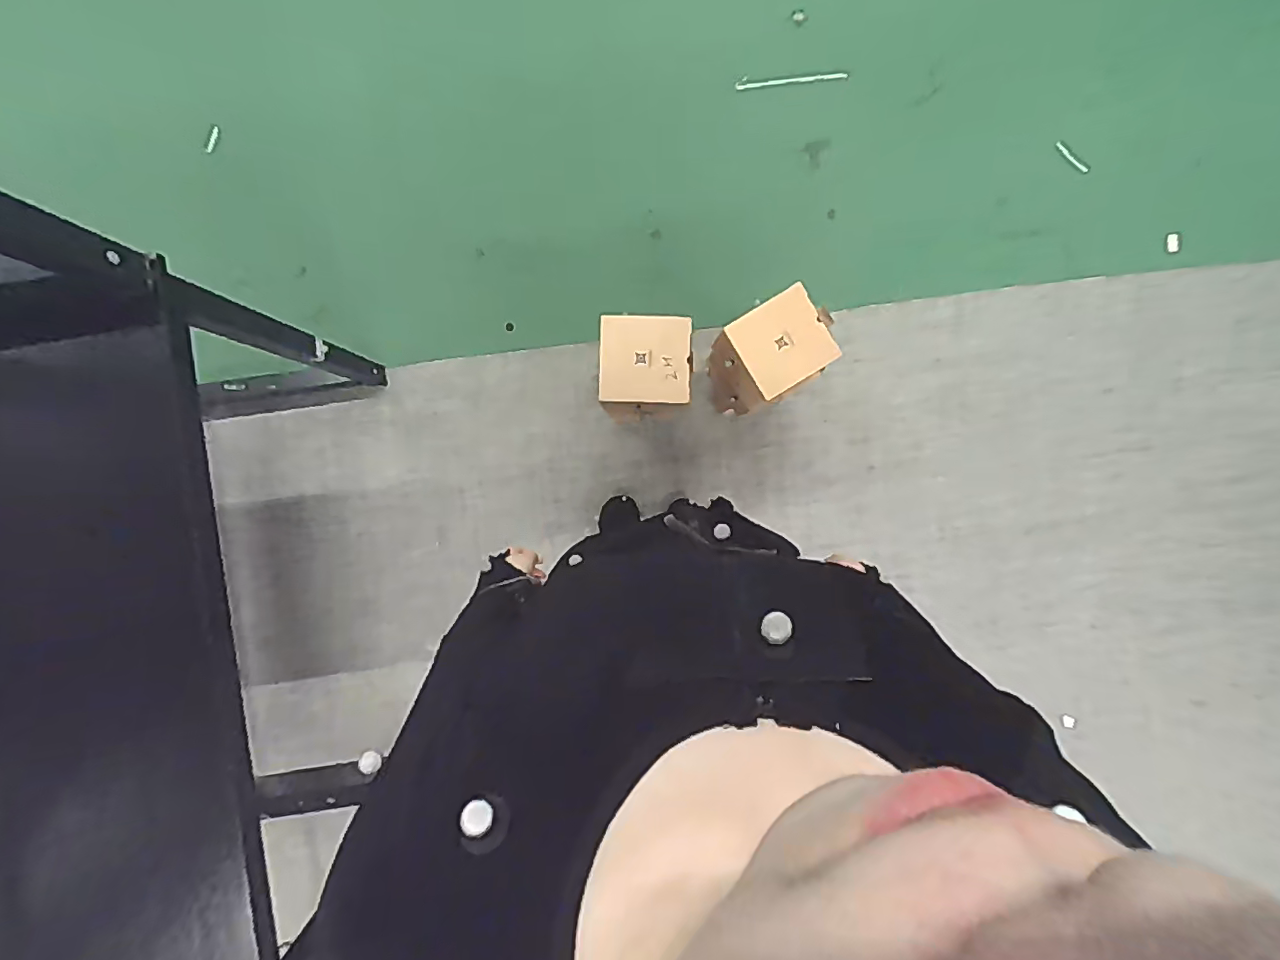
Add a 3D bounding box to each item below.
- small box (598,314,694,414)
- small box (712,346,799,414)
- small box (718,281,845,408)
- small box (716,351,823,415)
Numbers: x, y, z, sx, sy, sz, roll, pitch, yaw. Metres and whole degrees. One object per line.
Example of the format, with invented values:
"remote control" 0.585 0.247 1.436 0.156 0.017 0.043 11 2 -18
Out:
"small box" 0.012 -0.225 1.087 0.179 0.176 0.168 2 91 0
"small box" 0.294 -0.277 1.418 0.179 0.176 0.168 -15 91 -1
"small box" 0.273 -0.262 1.093 0.179 0.176 0.168 -32 92 0
"small box" 0.288 -0.263 1.256 0.179 0.176 0.168 -27 93 -1
